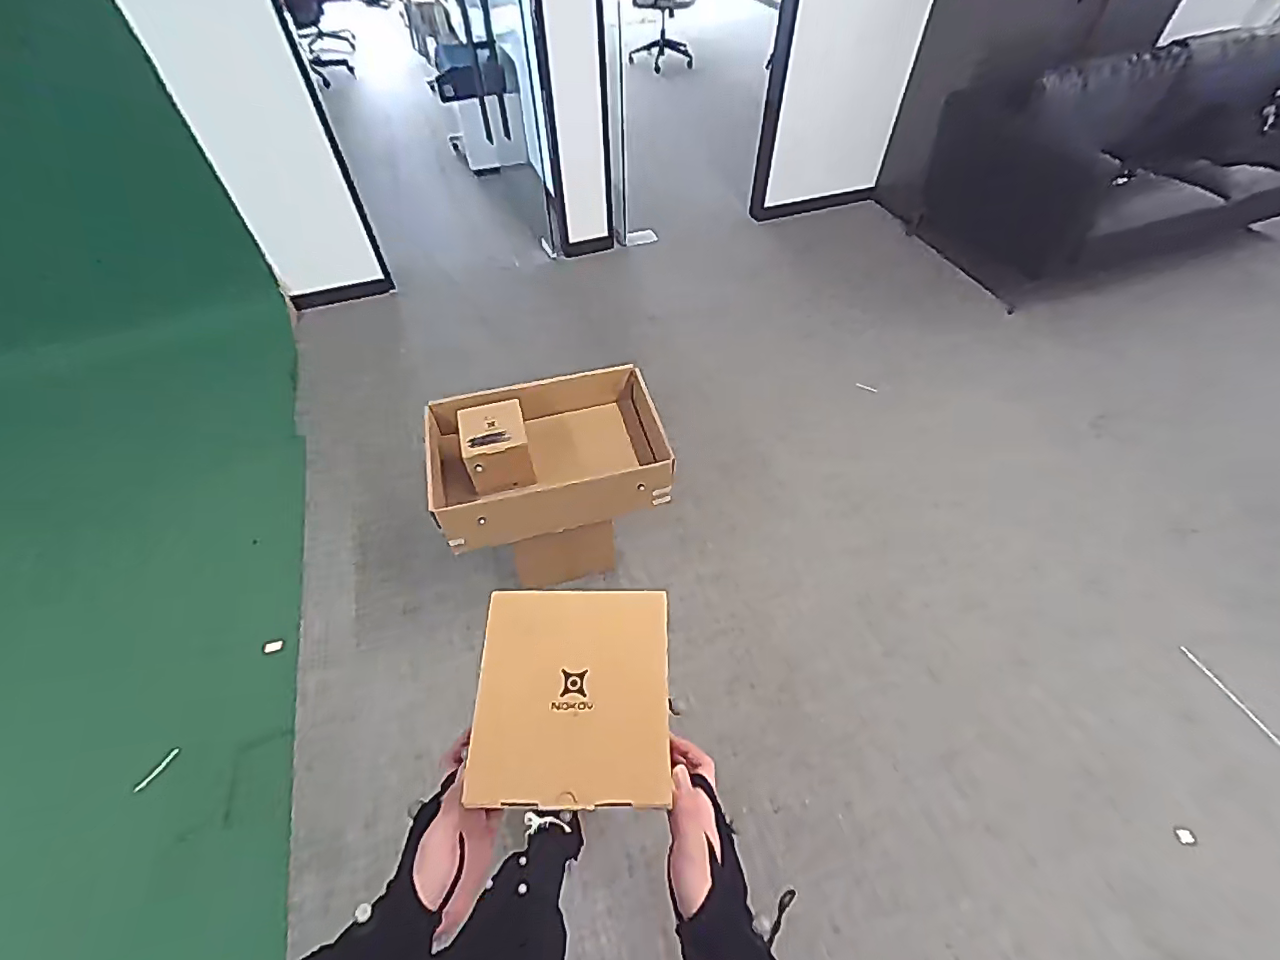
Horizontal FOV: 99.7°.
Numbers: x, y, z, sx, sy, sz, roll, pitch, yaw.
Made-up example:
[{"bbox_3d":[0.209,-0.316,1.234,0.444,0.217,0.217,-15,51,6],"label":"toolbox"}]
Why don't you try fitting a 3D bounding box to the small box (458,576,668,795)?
[{"bbox_3d":[-0.061,0.205,0.528,0.168,0.176,0.179,0,61,0],"label":"small box"}]
